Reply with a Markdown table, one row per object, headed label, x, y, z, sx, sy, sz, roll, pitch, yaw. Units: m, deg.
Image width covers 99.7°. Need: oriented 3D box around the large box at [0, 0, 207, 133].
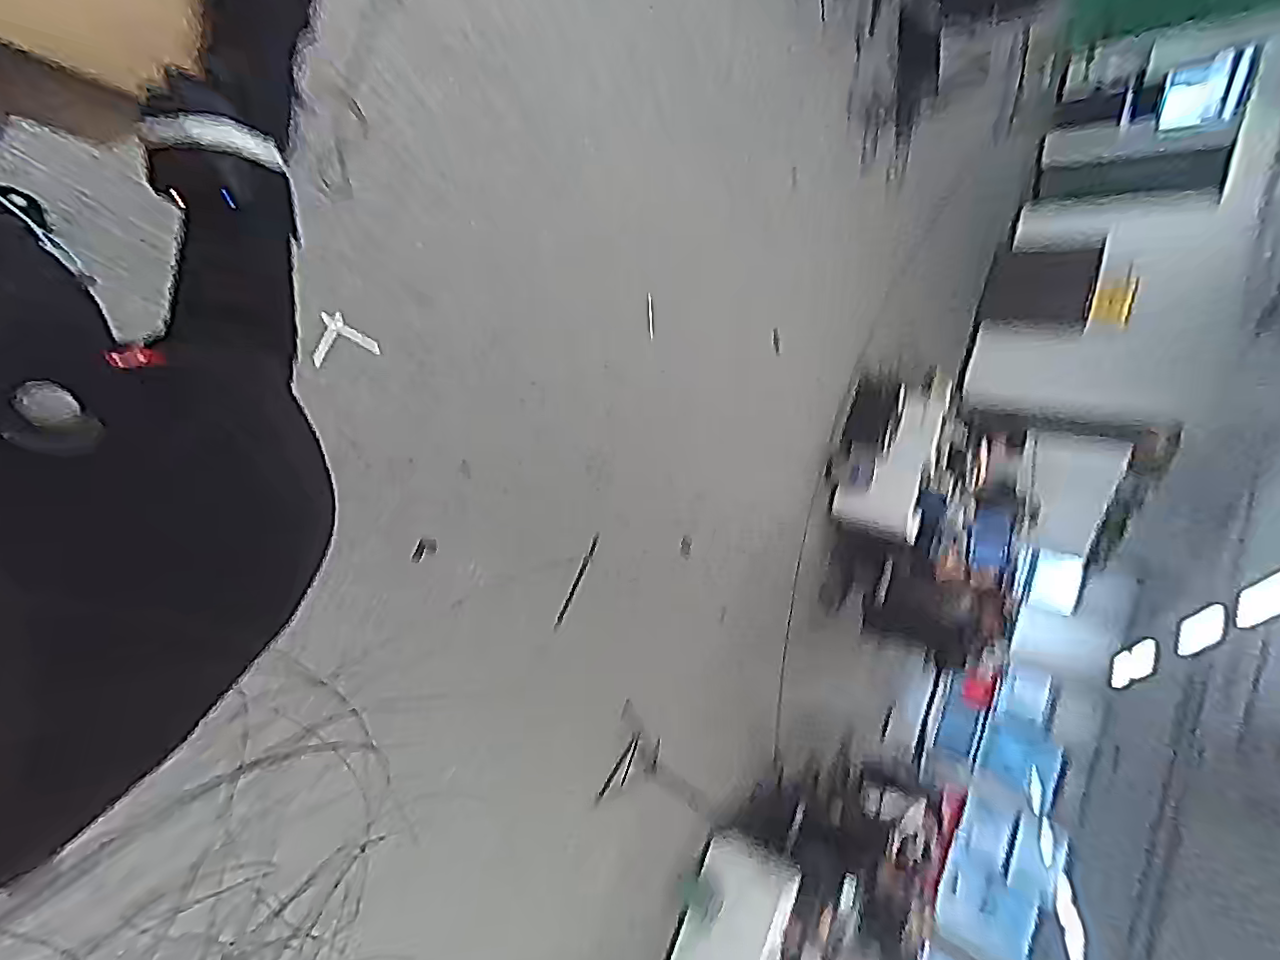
| label | x | y | z | sx | sy | sz | roll | pitch | yaw |
| --- | --- | --- | --- | --- | --- | --- | --- | --- | --- |
| large box | -0.519 | -0.448 | 0.285 | 0.408 | 0.320 | 0.320 | -2 | 110 | -54 |
